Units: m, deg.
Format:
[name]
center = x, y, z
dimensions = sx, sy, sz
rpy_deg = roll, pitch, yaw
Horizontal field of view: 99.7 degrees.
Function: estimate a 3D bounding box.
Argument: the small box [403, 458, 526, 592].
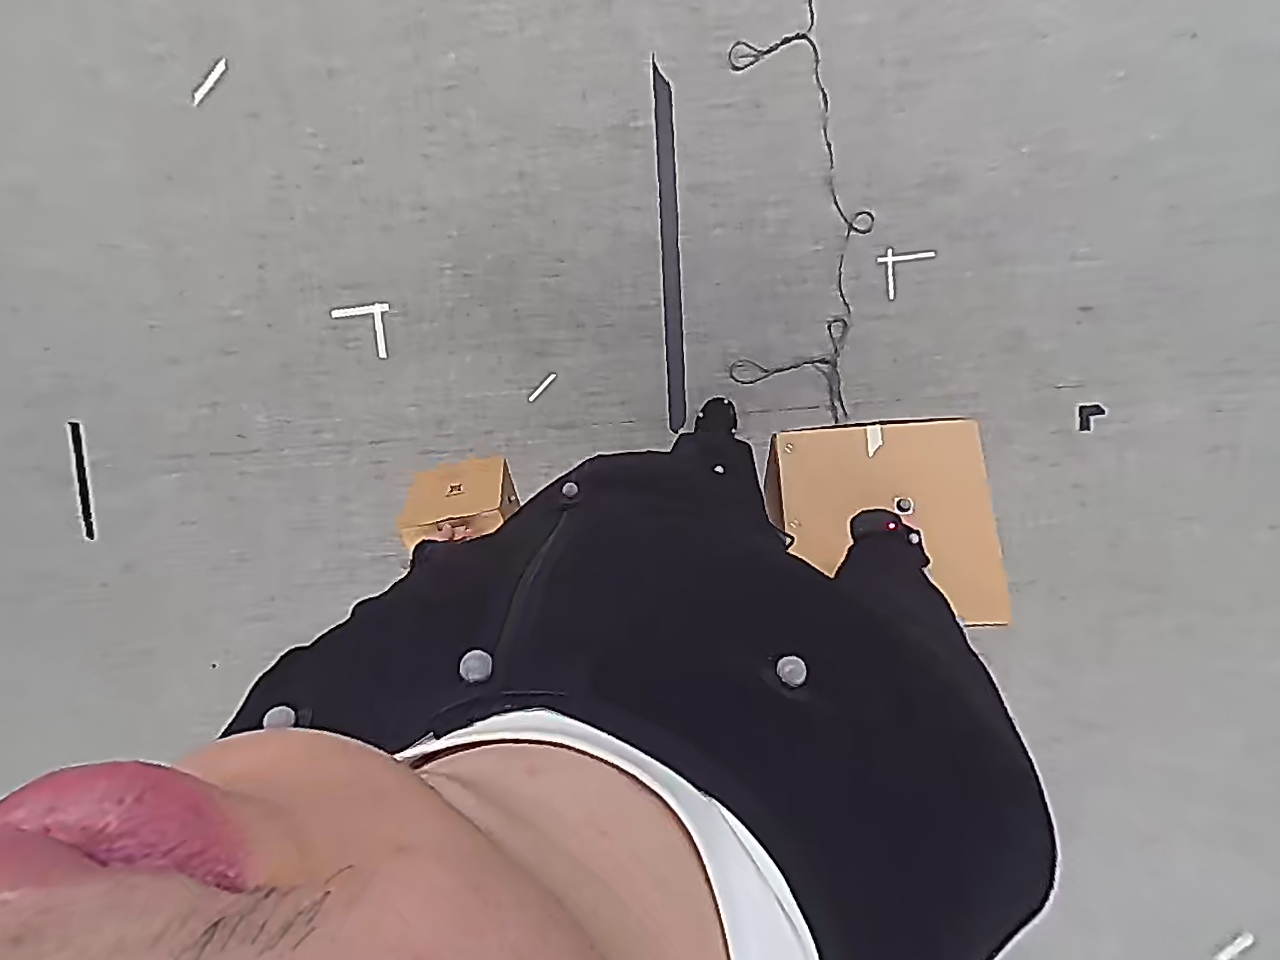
[small box]
center = -0.310, 0.087, 0.995
dimensions = 0.168, 0.179, 0.176
rpy_deg = -11, 123, -4
